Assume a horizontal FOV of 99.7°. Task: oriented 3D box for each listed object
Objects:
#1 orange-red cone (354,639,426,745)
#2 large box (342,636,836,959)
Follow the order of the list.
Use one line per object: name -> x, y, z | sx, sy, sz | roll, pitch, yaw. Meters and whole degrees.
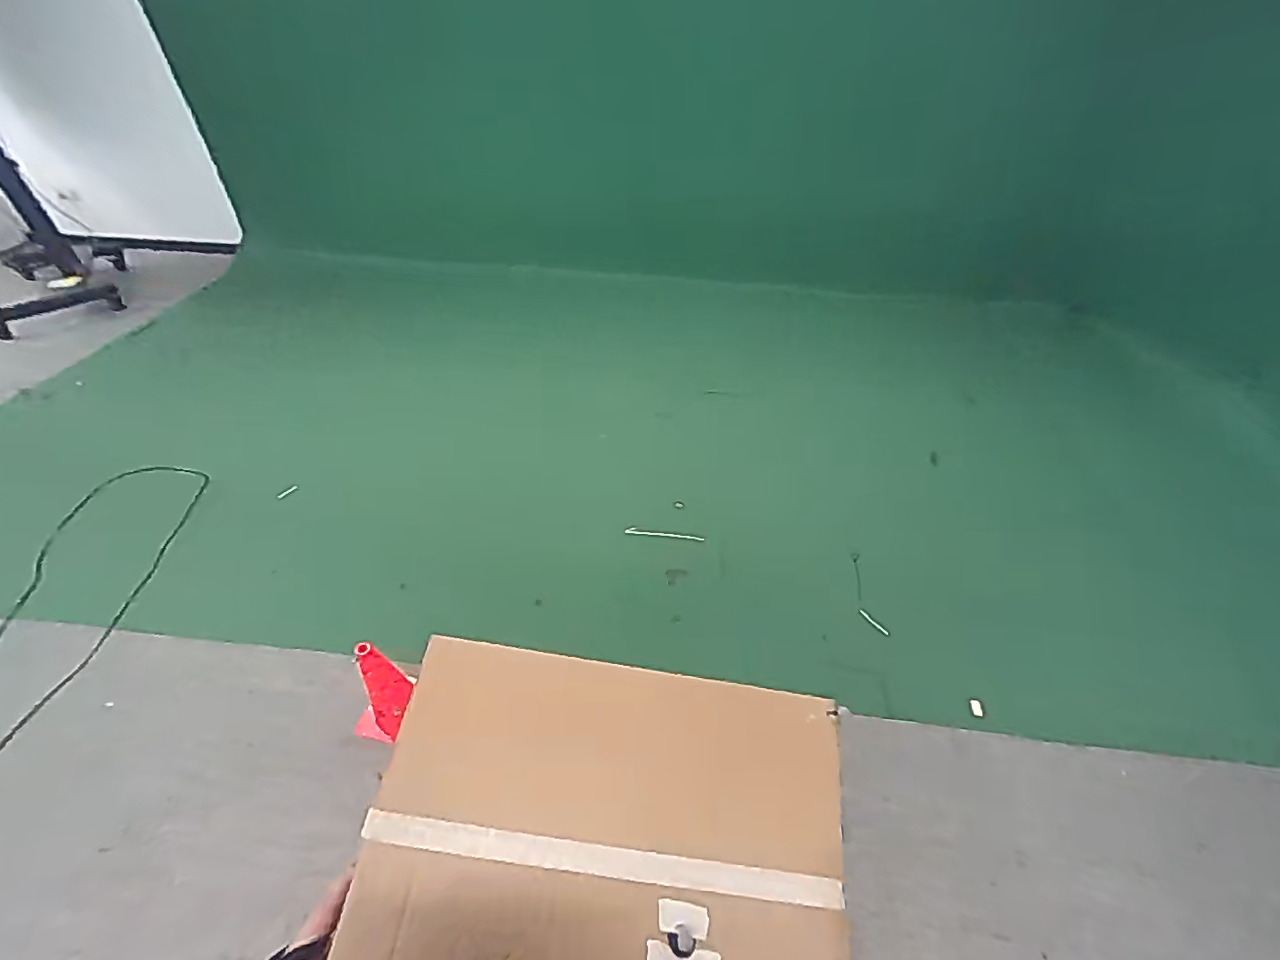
orange-red cone -> -0.726, 0.560, 1.520 | 0.199, 0.360, 0.198 | 9, 43, 10
large box -> -0.042, 0.388, 0.602 | 0.408, 0.320, 0.320 | 10, 61, -2
